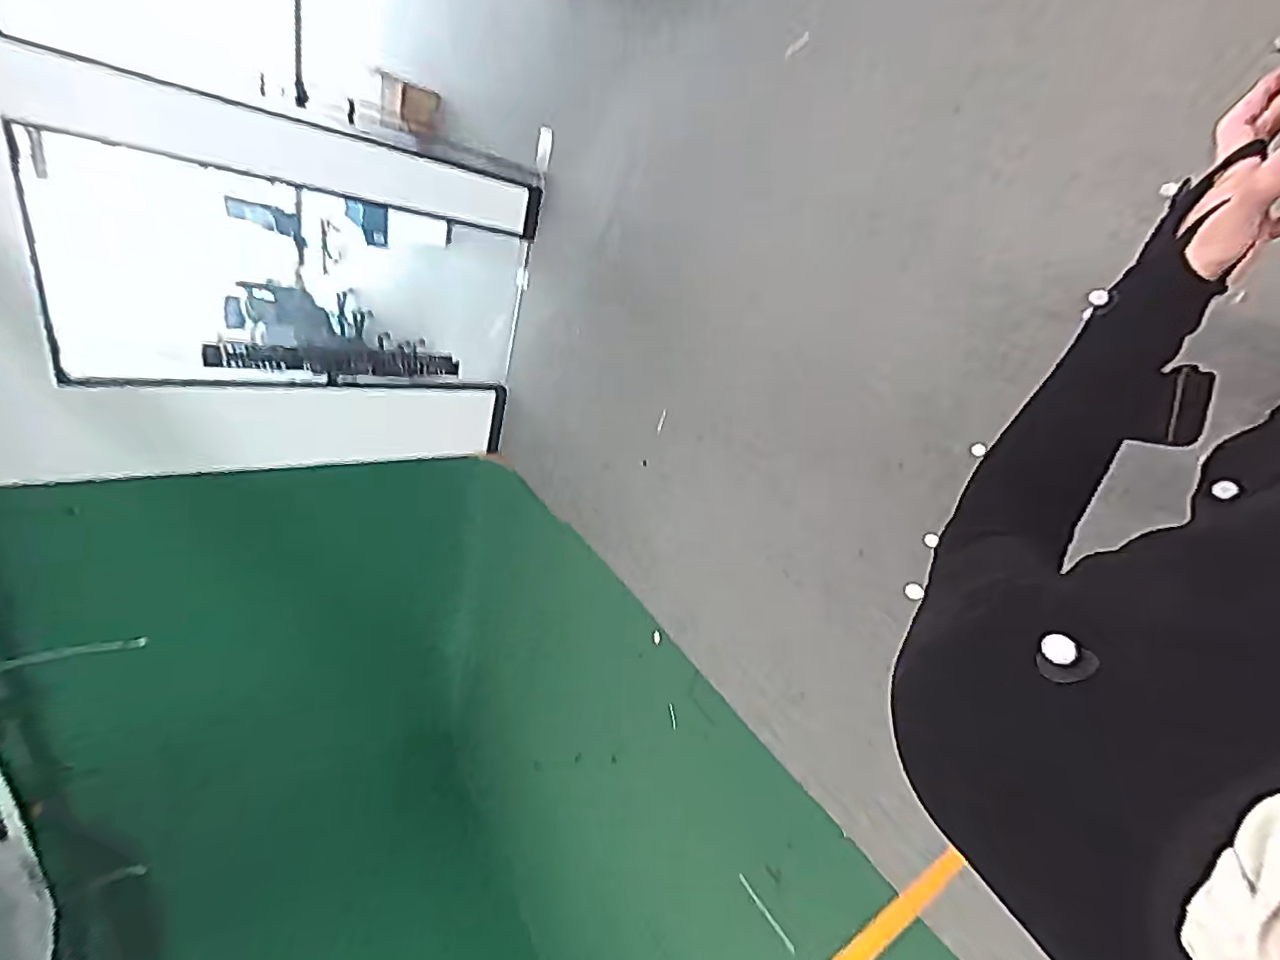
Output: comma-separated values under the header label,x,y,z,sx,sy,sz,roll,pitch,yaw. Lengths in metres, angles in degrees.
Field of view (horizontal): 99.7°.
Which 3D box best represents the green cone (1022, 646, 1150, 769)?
label,x,y,z,sx,sy,sz,roll,pitch,yaw
green cone,0.988,0.566,1.252,0.202,0.368,0.200,40,124,37
